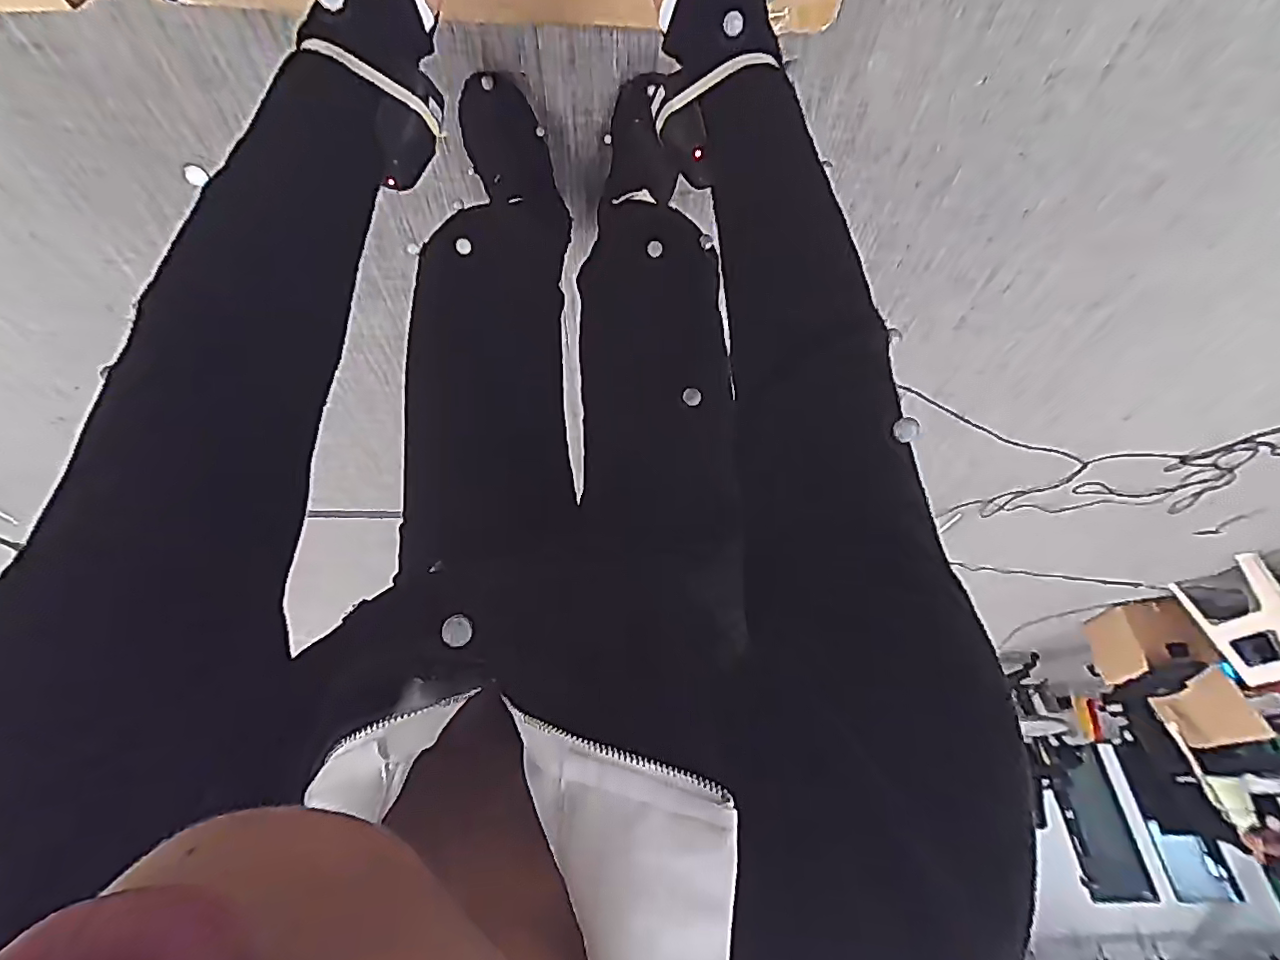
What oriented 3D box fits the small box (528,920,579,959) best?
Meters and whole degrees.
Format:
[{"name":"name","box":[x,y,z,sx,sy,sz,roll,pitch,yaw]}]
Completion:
[{"name":"small box","box":[-0.332,1.814,2.079,0.168,0.176,0.179,-2,151,3]}]
